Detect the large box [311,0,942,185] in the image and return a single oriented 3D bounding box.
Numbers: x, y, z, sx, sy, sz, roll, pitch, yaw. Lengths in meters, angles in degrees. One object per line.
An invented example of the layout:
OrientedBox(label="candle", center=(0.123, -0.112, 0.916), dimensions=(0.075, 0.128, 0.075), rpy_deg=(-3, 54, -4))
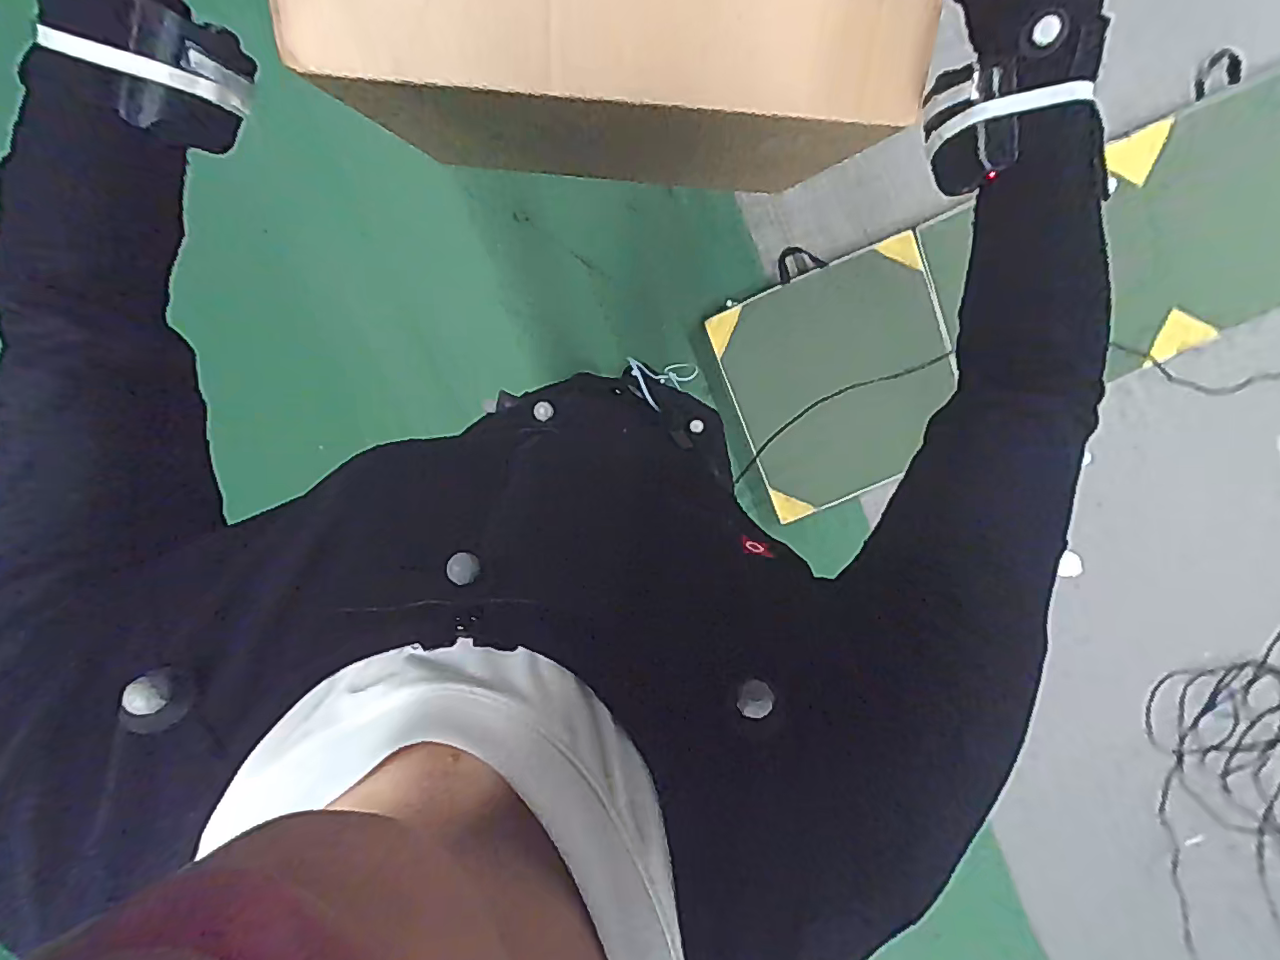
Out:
OrientedBox(label="large box", center=(-0.006, -0.449, 0.441), dimensions=(0.408, 0.320, 0.320), rpy_deg=(3, 111, -5))
